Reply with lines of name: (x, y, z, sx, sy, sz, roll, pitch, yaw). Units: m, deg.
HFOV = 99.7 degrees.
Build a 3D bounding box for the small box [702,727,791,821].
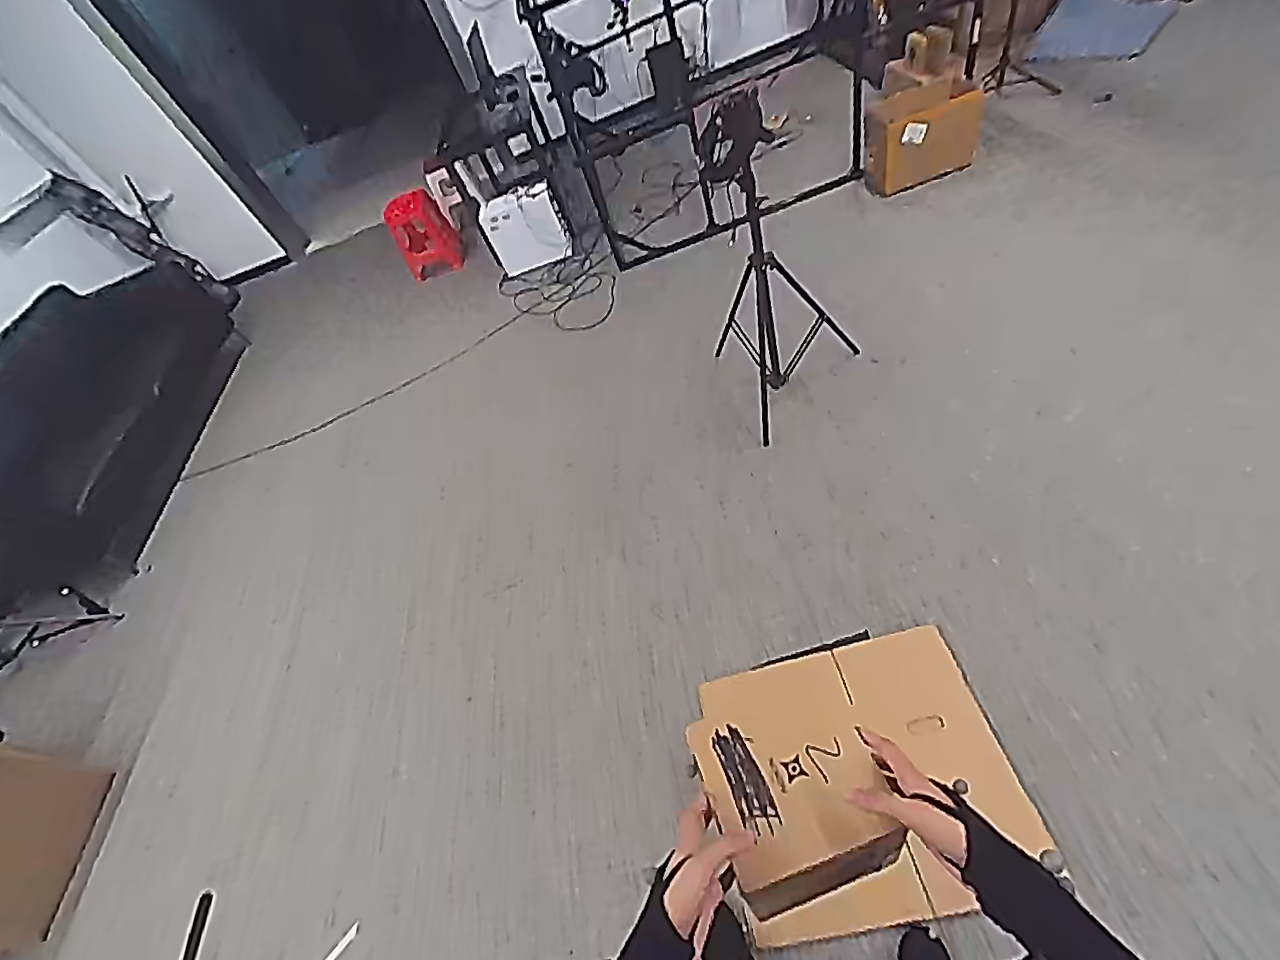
small box: (0.271, 0.741, 1.358, 0.179, 0.176, 0.168, -18, 49, 9)
